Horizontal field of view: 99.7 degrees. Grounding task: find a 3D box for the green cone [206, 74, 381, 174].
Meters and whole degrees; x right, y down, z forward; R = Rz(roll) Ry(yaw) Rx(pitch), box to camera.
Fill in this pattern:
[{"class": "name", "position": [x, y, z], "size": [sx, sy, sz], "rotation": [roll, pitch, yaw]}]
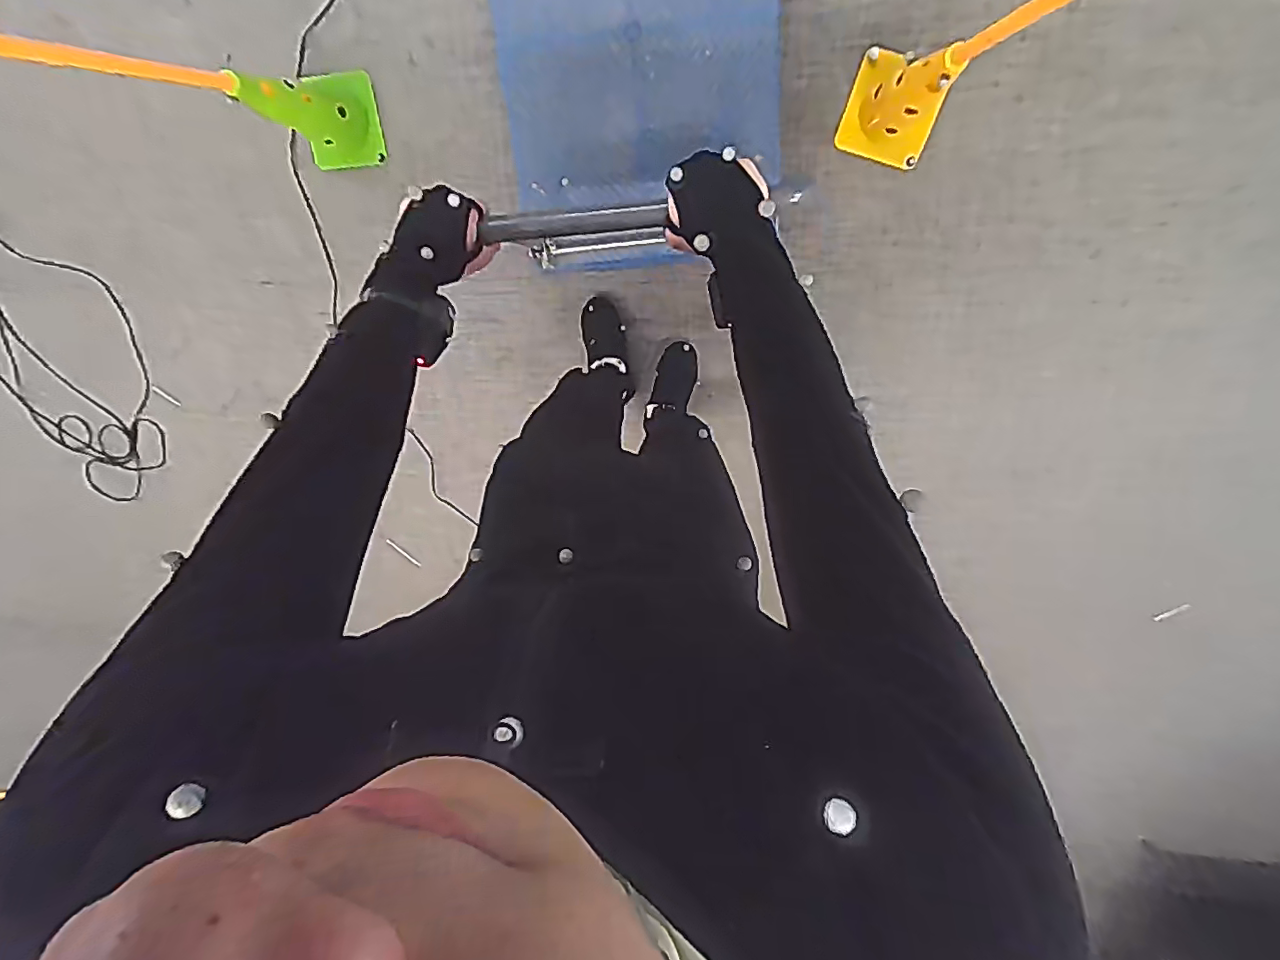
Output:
[{"class": "green cone", "position": [-0.788, -0.830, 1.204], "size": [0.202, 0.368, 0.200], "rotation": [-1, 112, 10]}]
